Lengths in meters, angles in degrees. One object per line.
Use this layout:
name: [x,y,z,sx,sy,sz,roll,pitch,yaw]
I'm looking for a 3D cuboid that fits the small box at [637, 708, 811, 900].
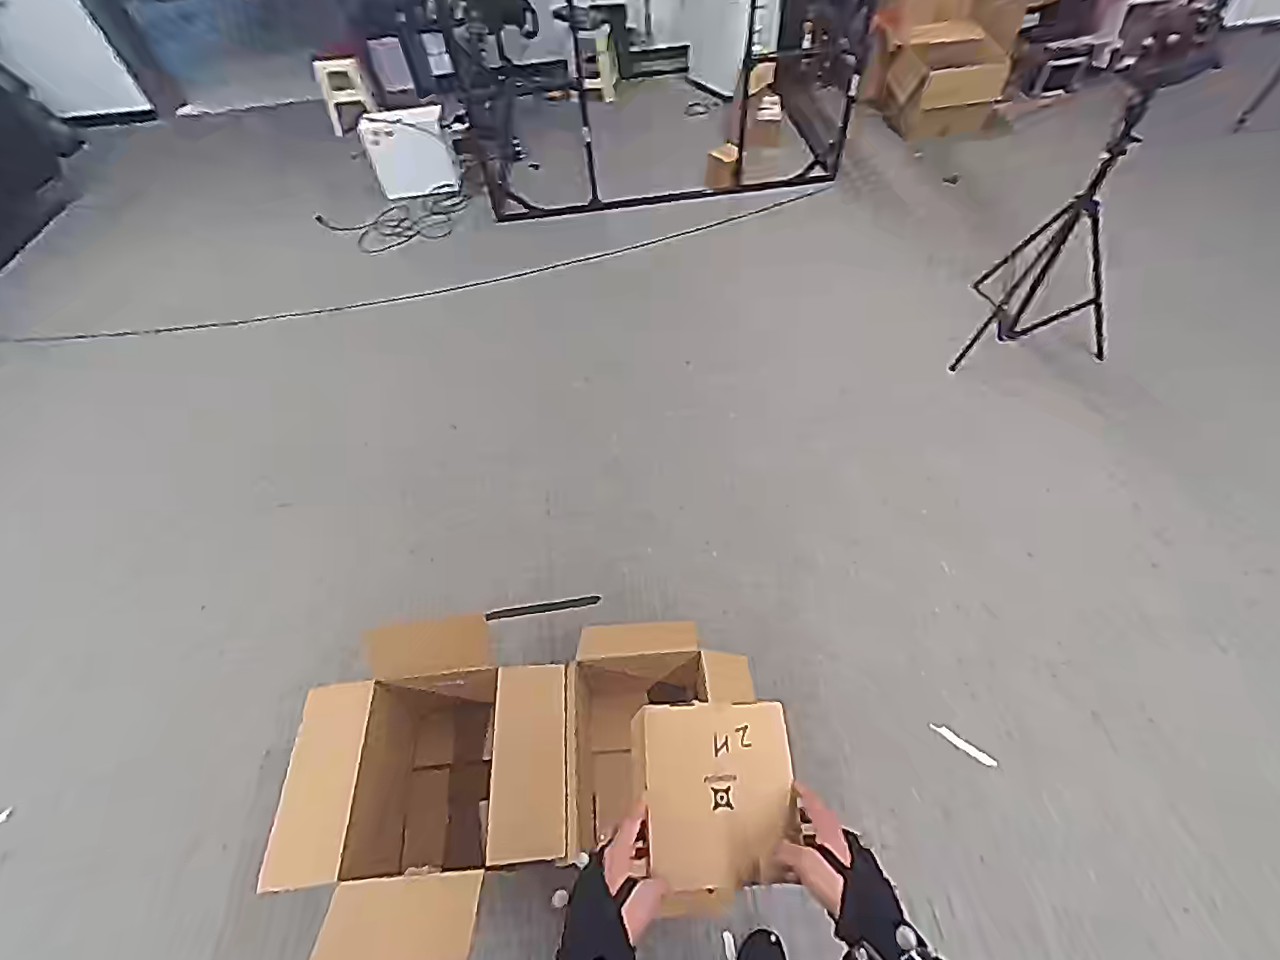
small box: [0.085,0.379,0.652,0.168,0.176,0.179,1,60,-6]
